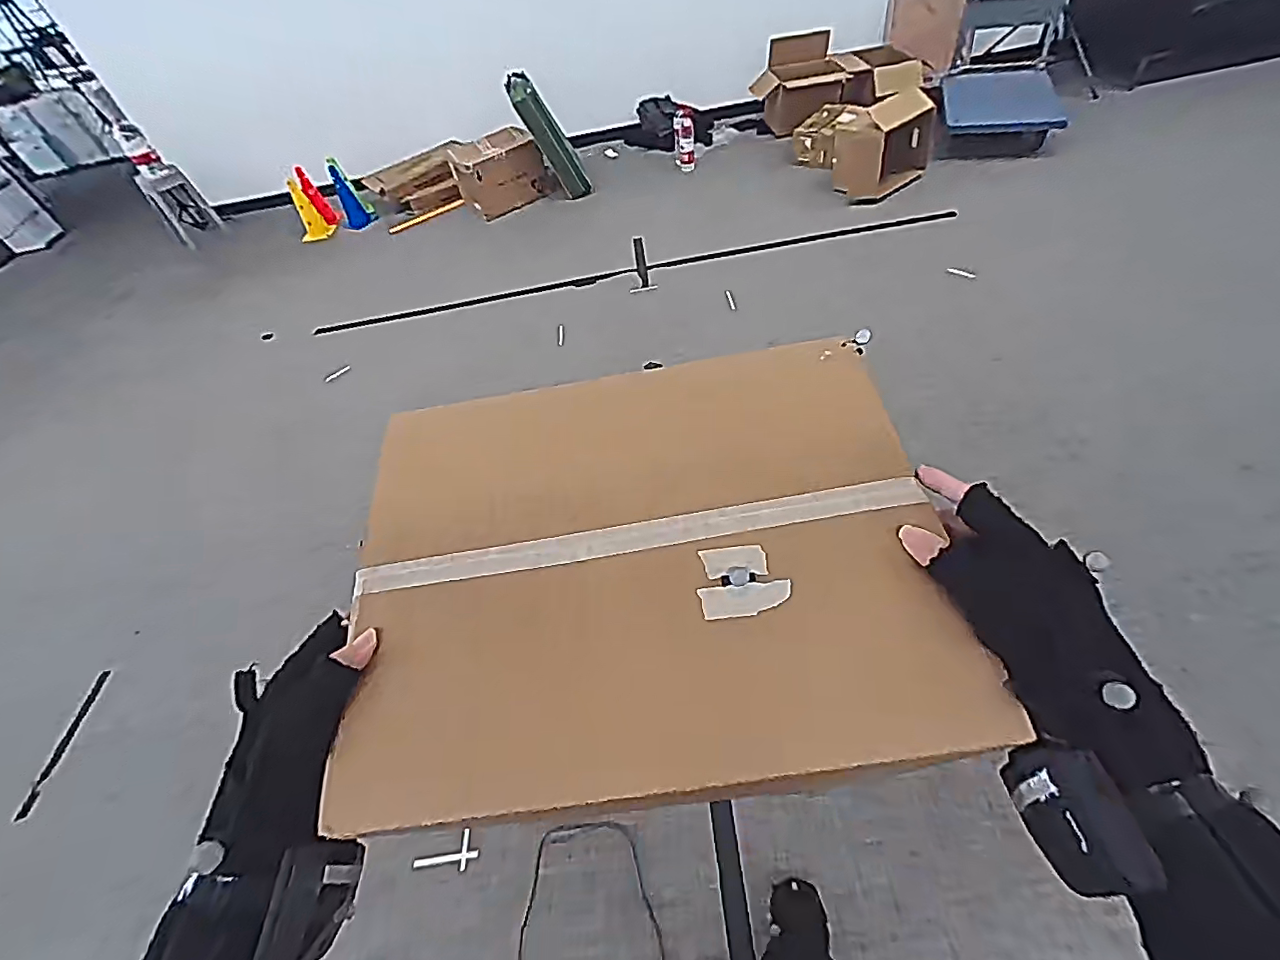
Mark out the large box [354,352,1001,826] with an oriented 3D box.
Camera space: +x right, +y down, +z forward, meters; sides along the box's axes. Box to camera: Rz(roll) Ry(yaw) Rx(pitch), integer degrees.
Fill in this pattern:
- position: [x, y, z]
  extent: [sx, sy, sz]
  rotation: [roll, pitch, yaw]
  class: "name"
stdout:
- position: [0.017, 0.126, 0.526]
  extent: [0.408, 0.320, 0.320]
  rotation: [-9, 58, 3]
  class: "large box"
